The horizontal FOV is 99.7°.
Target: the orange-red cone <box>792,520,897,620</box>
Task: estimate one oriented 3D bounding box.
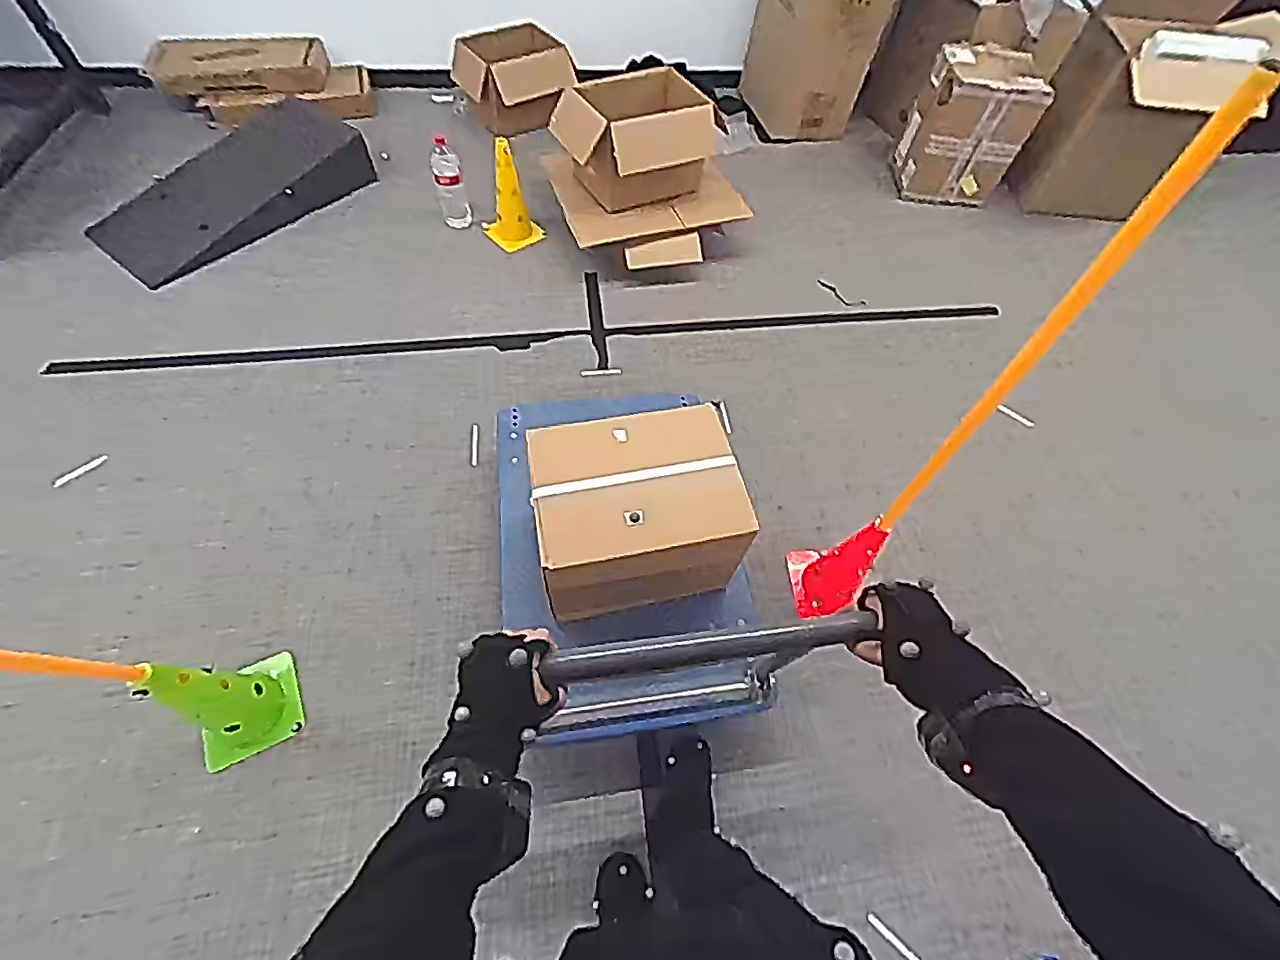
[{"bbox_3d":[0.529,0.192,1.318,0.199,0.360,0.198,1,58,-5],"label":"orange-red cone"}]

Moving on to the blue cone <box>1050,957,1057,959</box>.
[{"bbox_3d":[0.777,0.948,0.874,0.193,0.380,0.192,-8,58,-10],"label":"blue cone"}]
